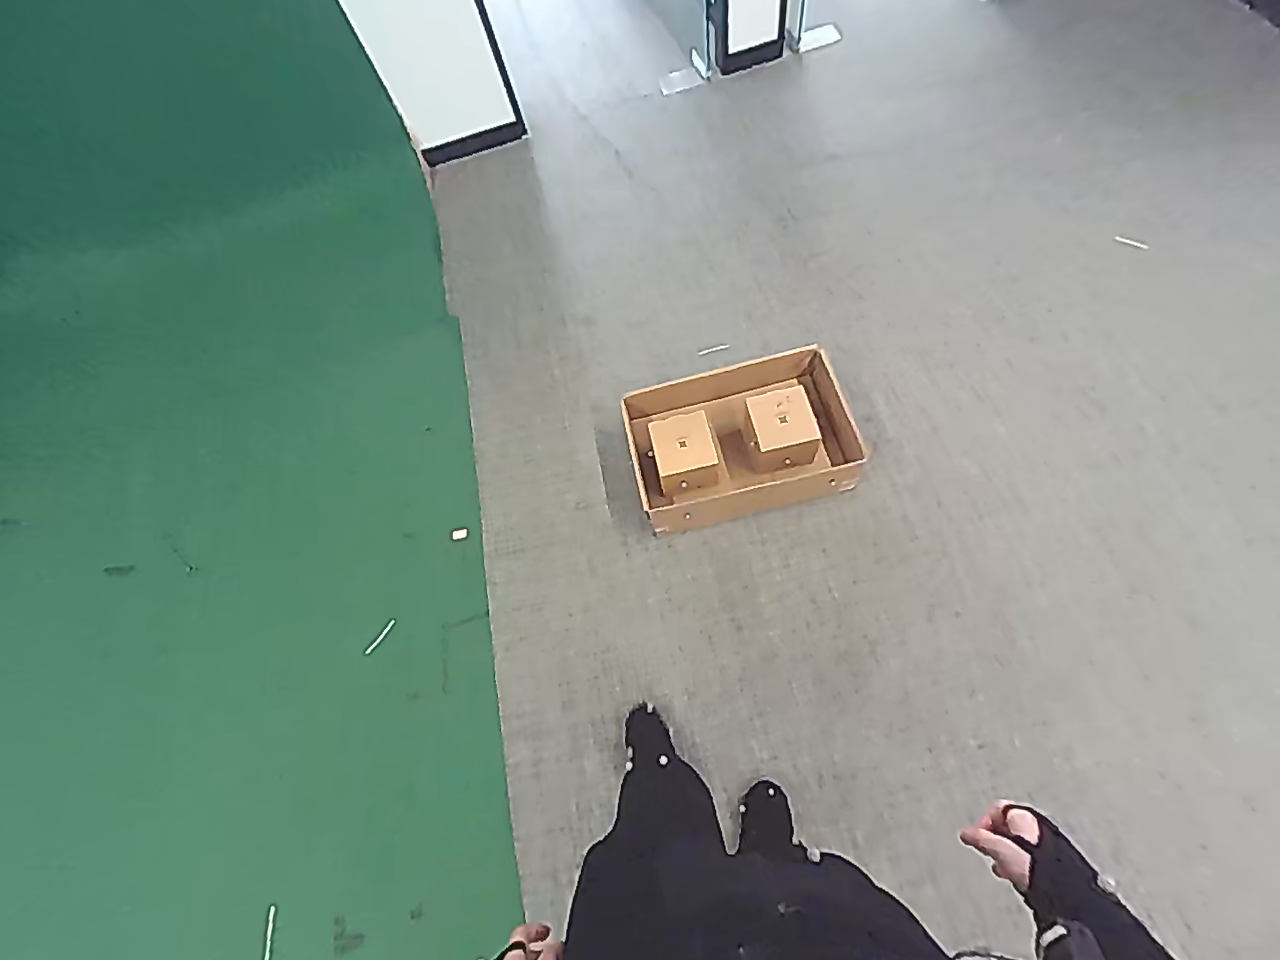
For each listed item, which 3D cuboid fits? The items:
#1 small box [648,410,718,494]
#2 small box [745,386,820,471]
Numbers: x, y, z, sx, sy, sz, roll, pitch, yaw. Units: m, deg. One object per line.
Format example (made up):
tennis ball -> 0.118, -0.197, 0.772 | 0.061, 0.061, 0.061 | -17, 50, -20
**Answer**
small box -> 0.129, -0.071, 1.563 | 0.168, 0.176, 0.179 | -13, 64, 2
small box -> 0.402, -0.138, 1.550 | 0.168, 0.176, 0.179 | -12, 65, 4
